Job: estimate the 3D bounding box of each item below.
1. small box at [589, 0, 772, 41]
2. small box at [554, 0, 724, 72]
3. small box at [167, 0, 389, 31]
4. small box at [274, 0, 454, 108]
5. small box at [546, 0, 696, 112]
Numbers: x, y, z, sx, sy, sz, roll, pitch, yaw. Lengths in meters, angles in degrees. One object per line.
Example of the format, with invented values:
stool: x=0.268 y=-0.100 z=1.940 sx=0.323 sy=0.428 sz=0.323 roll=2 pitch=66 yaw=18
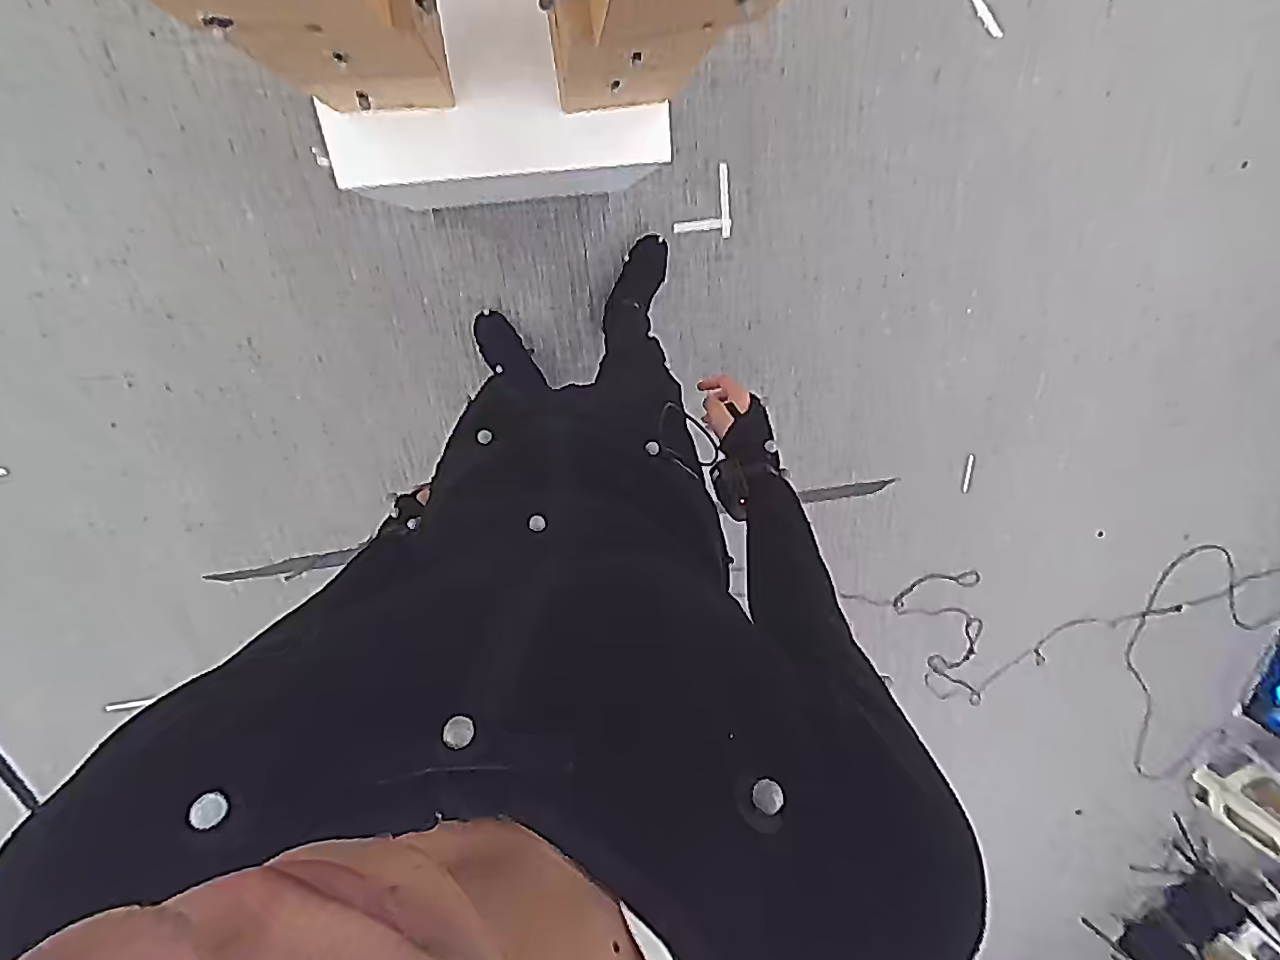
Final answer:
small box: x=0.036 y=-0.469 z=0.410 sx=0.168 sy=0.176 sz=0.179 roll=-14 pitch=115 yaw=-4
small box: x=-0.006 y=-0.542 z=0.551 sx=0.168 sy=0.176 sz=0.179 roll=-10 pitch=114 yaw=-6
small box: x=-0.288 y=-0.438 z=0.365 sx=0.168 sy=0.176 sz=0.179 roll=-5 pitch=113 yaw=-8
small box: x=-0.336 y=-0.573 z=0.661 sx=0.168 sy=0.176 sz=0.179 roll=-8 pitch=114 yaw=-8
small box: x=-0.032 y=-0.607 z=0.701 sx=0.168 sy=0.176 sz=0.179 roll=-10 pitch=114 yaw=-5
